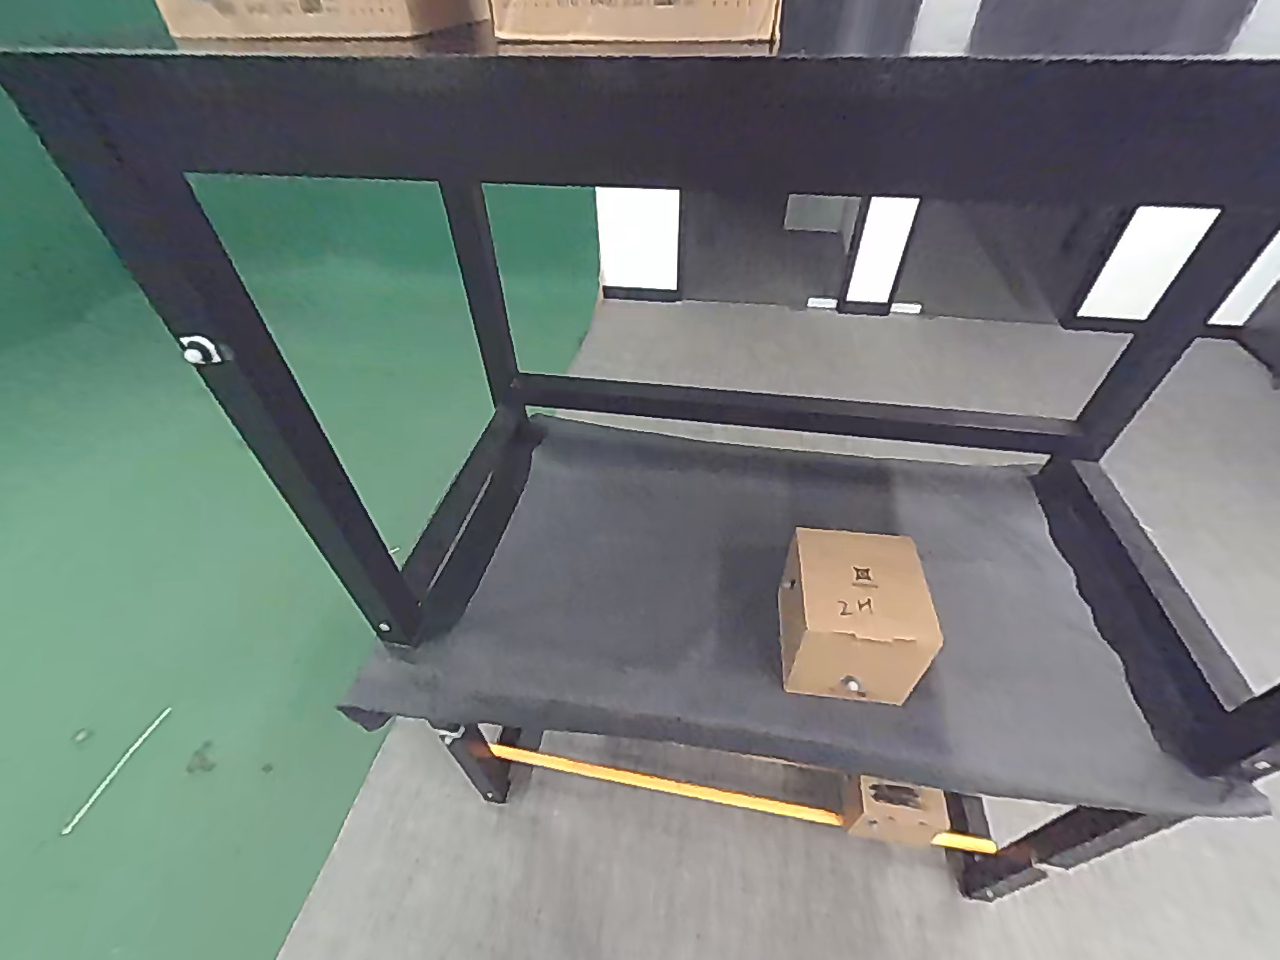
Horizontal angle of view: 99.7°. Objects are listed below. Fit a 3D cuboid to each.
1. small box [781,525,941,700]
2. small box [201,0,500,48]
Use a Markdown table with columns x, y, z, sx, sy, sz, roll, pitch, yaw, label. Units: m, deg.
| x | y | z | sx | sy | sz | roll | pitch | yaw | label |
| --- | --- | --- | --- | --- | --- | --- | --- | --- | --- |
| 0.303 | 0.191 | 0.789 | 0.168 | 0.176 | 0.179 | 5 | 43 | 7 | small box |
| -0.205 | -0.403 | 0.362 | 0.168 | 0.176 | 0.179 | 4 | 43 | 4 | small box |
